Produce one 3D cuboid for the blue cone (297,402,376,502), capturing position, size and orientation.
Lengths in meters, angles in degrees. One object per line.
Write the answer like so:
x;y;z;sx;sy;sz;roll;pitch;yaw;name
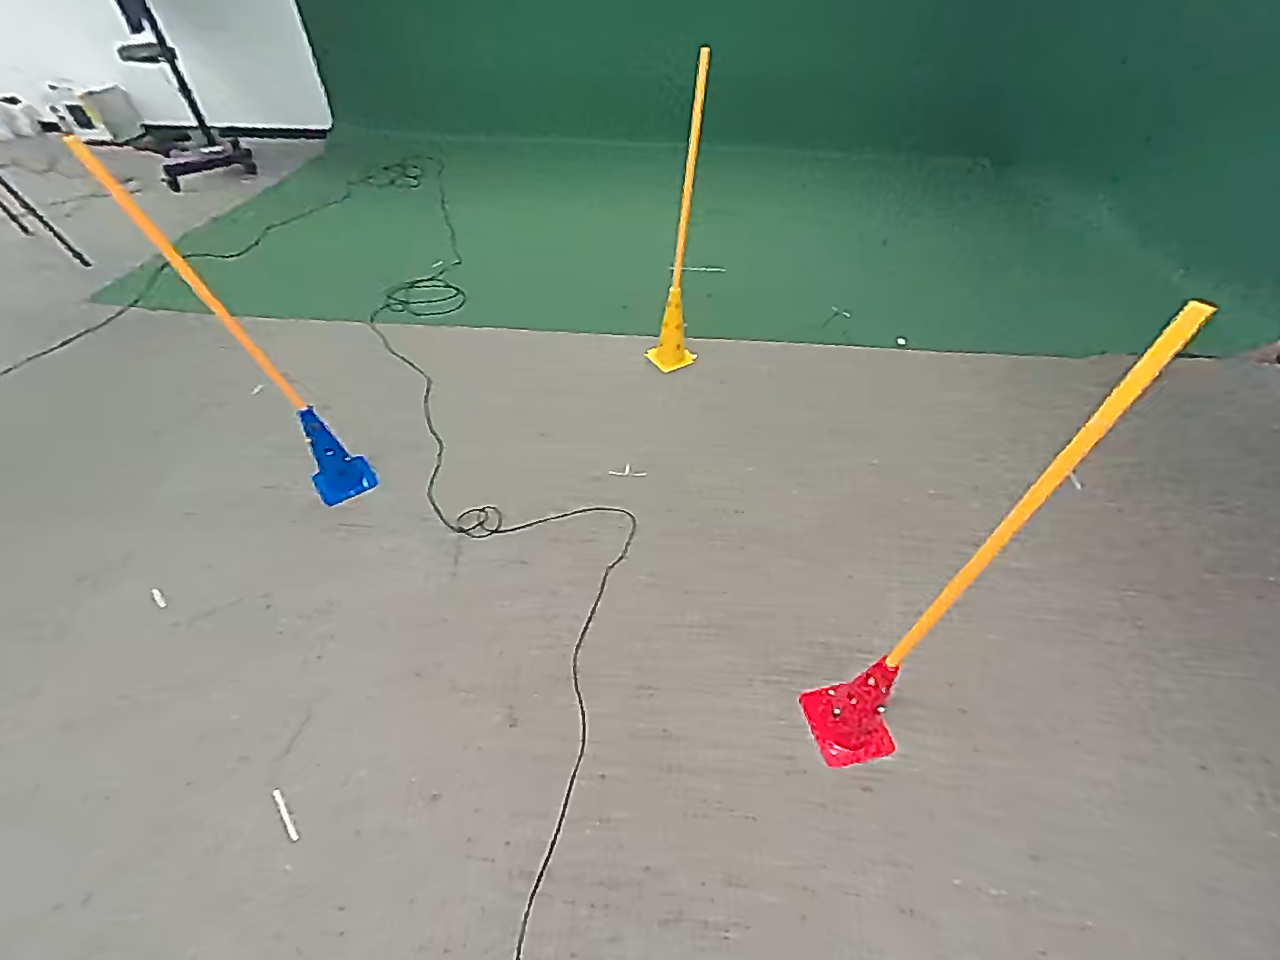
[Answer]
-1.107;-0.115;1.912;0.193;0.380;0.192;-32;55;-26;blue cone
